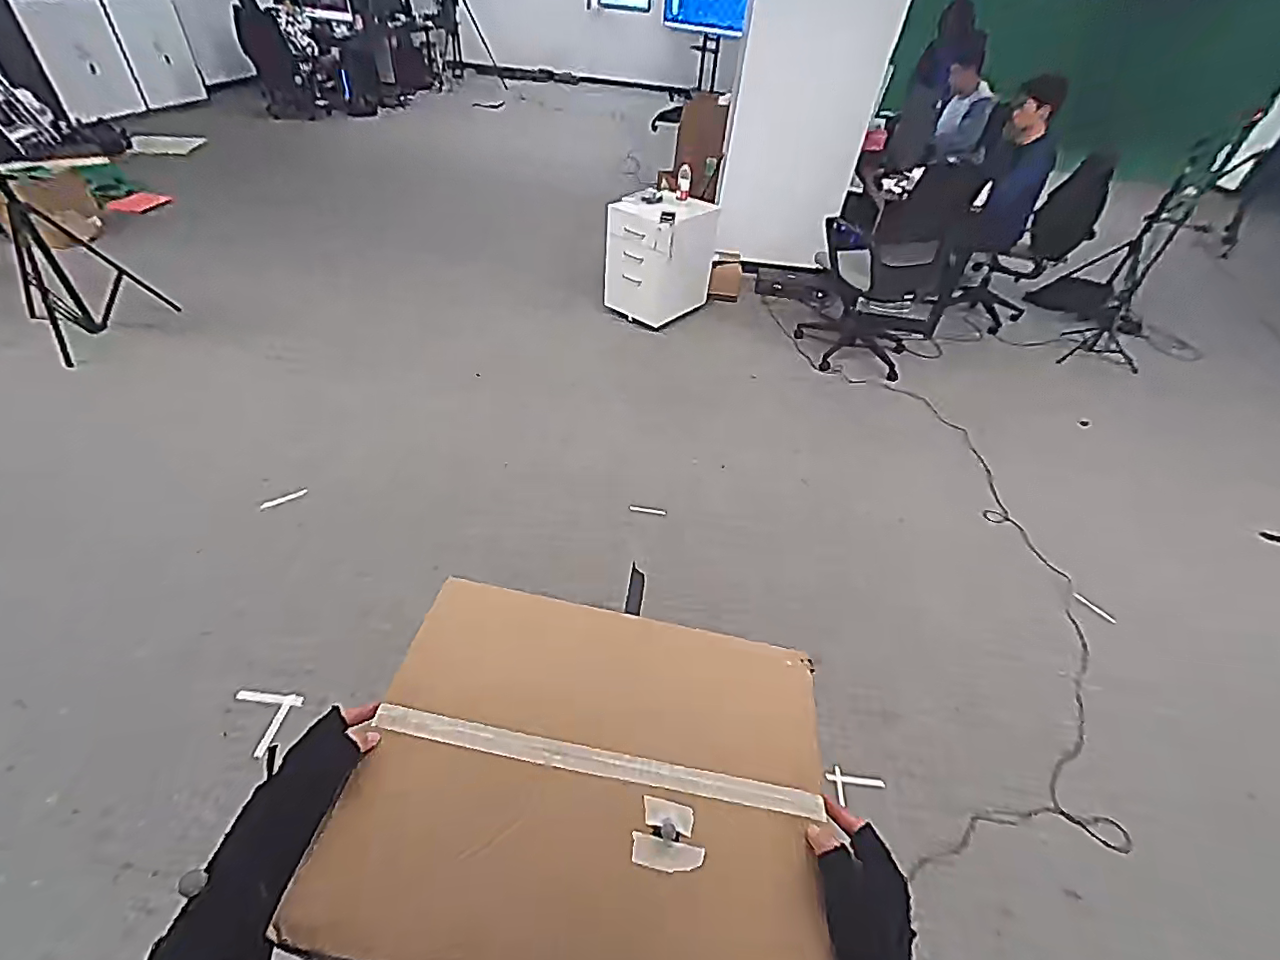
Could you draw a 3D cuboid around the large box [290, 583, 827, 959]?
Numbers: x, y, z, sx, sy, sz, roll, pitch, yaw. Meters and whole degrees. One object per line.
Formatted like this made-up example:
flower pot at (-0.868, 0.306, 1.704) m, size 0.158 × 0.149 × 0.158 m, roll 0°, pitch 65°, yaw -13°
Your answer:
large box at (-0.060, 0.359, 0.592) m, size 0.408 × 0.320 × 0.320 m, roll 12°, pitch 44°, yaw 0°
